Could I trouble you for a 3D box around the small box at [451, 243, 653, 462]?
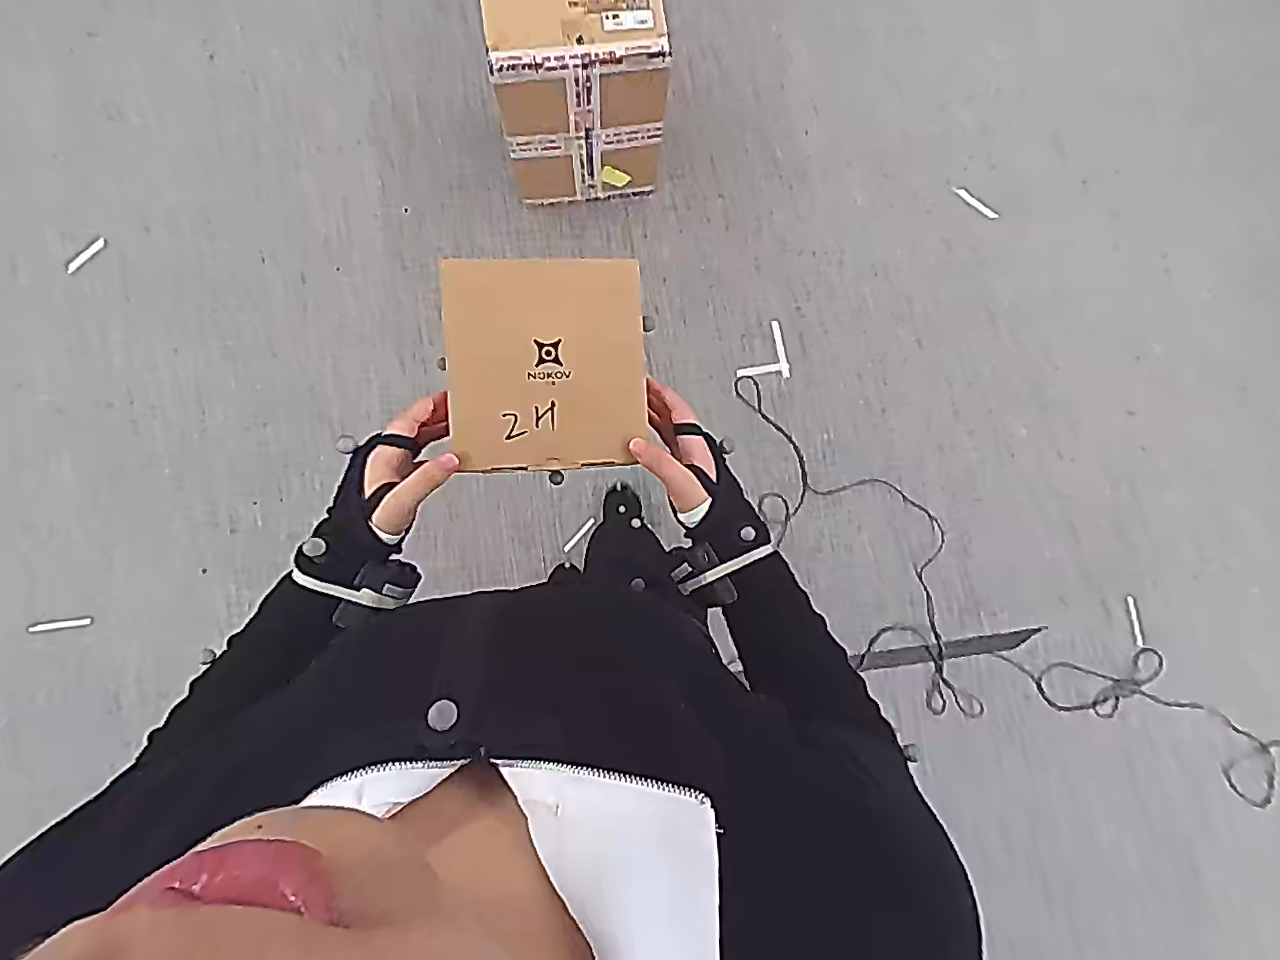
[{"bbox_3d":[-0.083,-0.112,0.535,0.168,0.176,0.179,-3,90,-7],"label":"small box"}]
